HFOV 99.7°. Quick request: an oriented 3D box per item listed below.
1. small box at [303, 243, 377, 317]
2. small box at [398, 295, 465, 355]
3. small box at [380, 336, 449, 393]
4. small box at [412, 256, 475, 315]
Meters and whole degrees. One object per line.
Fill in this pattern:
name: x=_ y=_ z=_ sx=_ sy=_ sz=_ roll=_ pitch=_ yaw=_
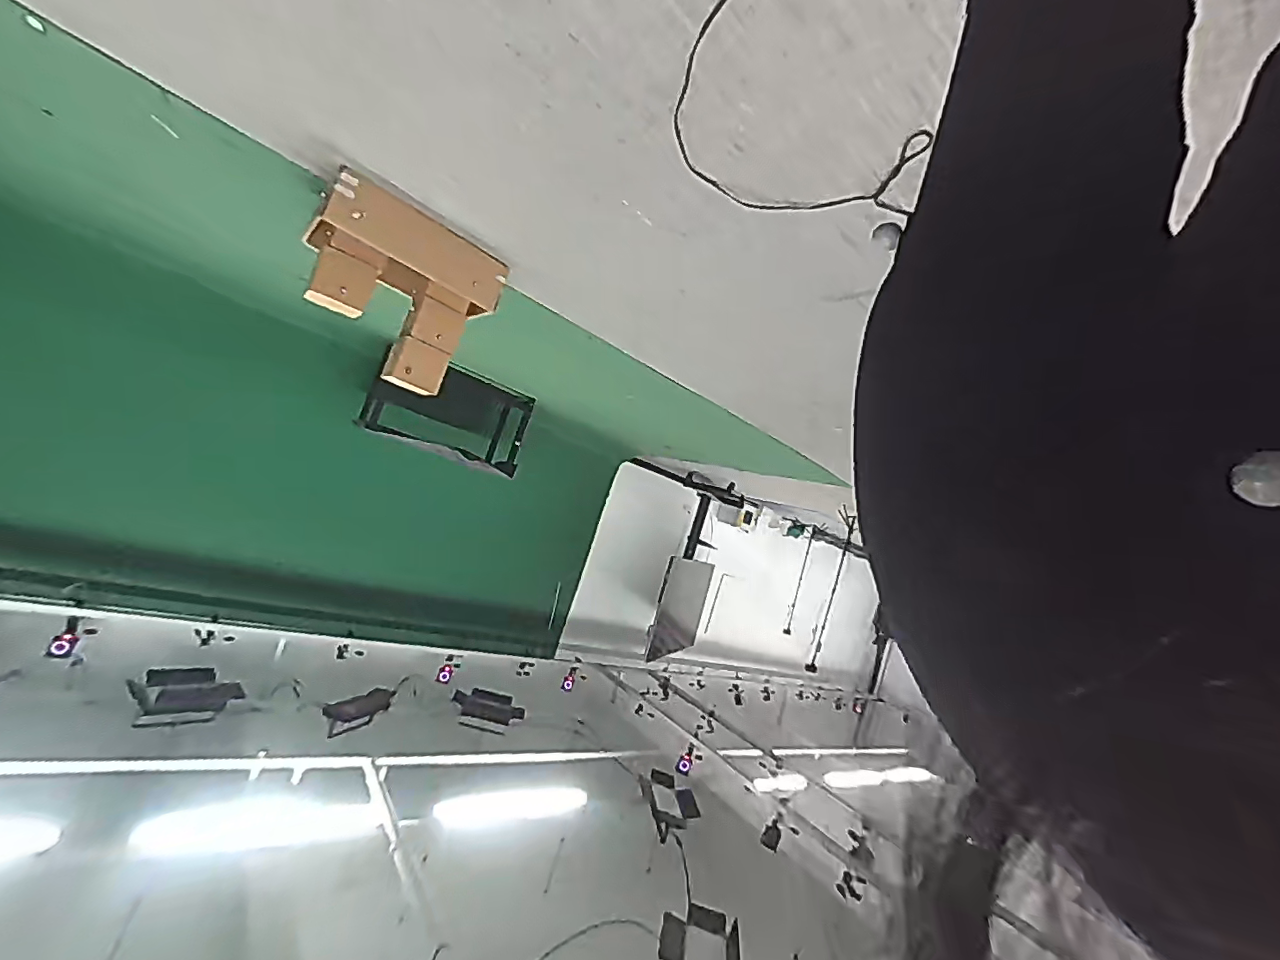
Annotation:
small box: x=-1.047 y=-0.697 z=1.891 sx=0.179 sy=0.176 sz=0.168 roll=21 pitch=172 yaw=-38
small box: x=-0.813 y=-0.602 z=2.116 sx=0.179 sy=0.176 sz=0.168 roll=24 pitch=172 yaw=-39
small box: x=-0.871 y=-0.448 z=2.093 sx=0.179 sy=0.176 sz=0.168 roll=22 pitch=174 yaw=-39
small box: x=-0.773 y=-0.760 z=2.136 sx=0.168 sy=0.176 sz=0.179 roll=23 pitch=172 yaw=-39
